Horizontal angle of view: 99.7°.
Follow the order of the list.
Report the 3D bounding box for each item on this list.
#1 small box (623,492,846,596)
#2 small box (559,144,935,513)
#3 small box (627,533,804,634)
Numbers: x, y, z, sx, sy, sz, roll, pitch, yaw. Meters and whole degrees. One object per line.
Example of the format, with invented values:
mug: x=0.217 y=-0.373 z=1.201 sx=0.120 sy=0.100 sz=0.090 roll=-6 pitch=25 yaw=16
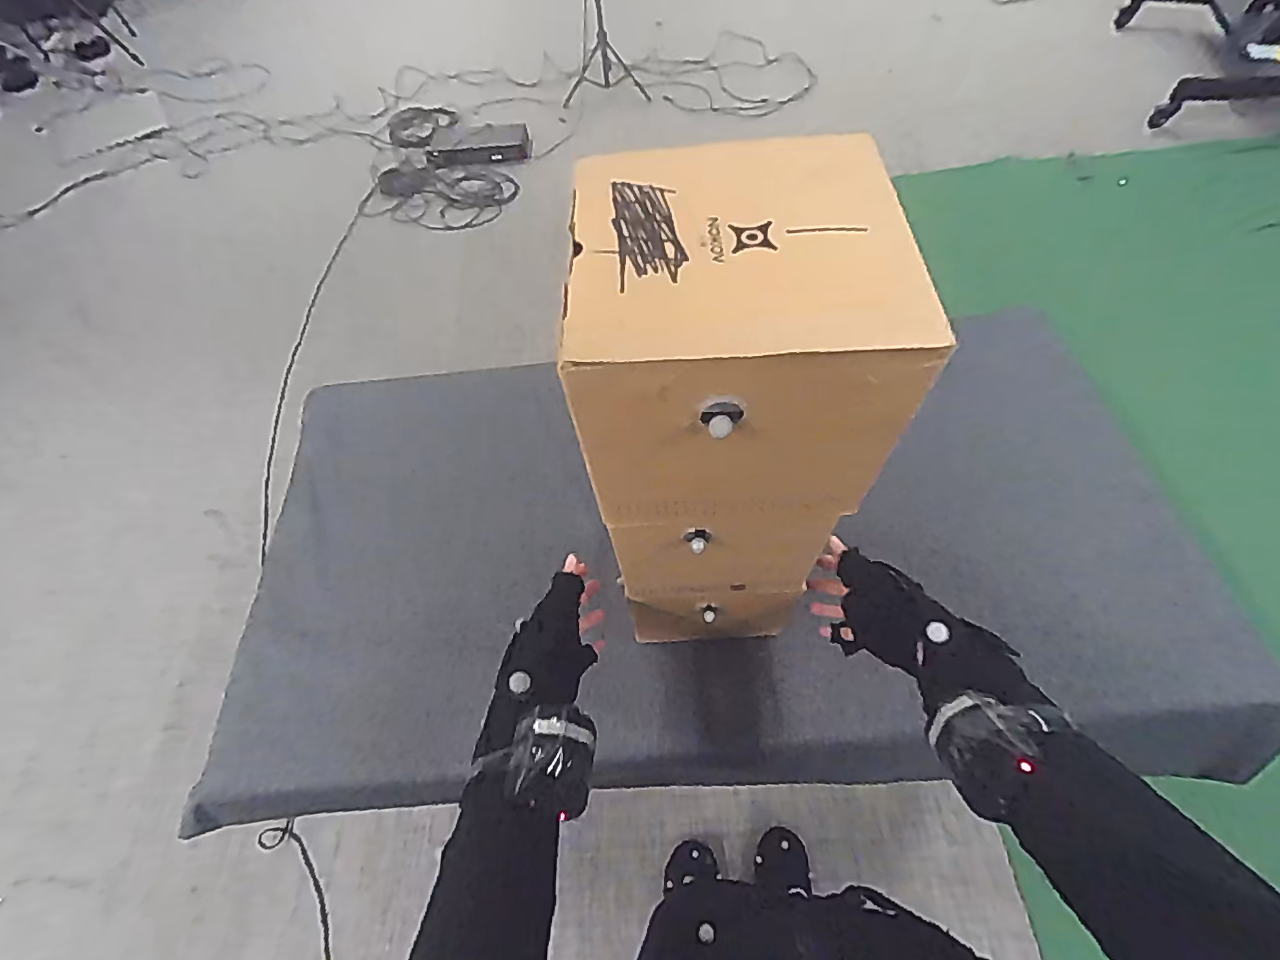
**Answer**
small box: x=0.068 y=-0.006 z=0.504 sx=0.168 sy=0.176 sz=0.179 roll=-6 pitch=60 yaw=1
small box: x=0.054 y=-0.086 z=0.357 sx=0.179 sy=0.176 sz=0.168 roll=-2 pitch=60 yaw=3
small box: x=0.079 y=0.078 z=0.641 sx=0.179 sy=0.176 sz=0.168 roll=-4 pitch=60 yaw=2
